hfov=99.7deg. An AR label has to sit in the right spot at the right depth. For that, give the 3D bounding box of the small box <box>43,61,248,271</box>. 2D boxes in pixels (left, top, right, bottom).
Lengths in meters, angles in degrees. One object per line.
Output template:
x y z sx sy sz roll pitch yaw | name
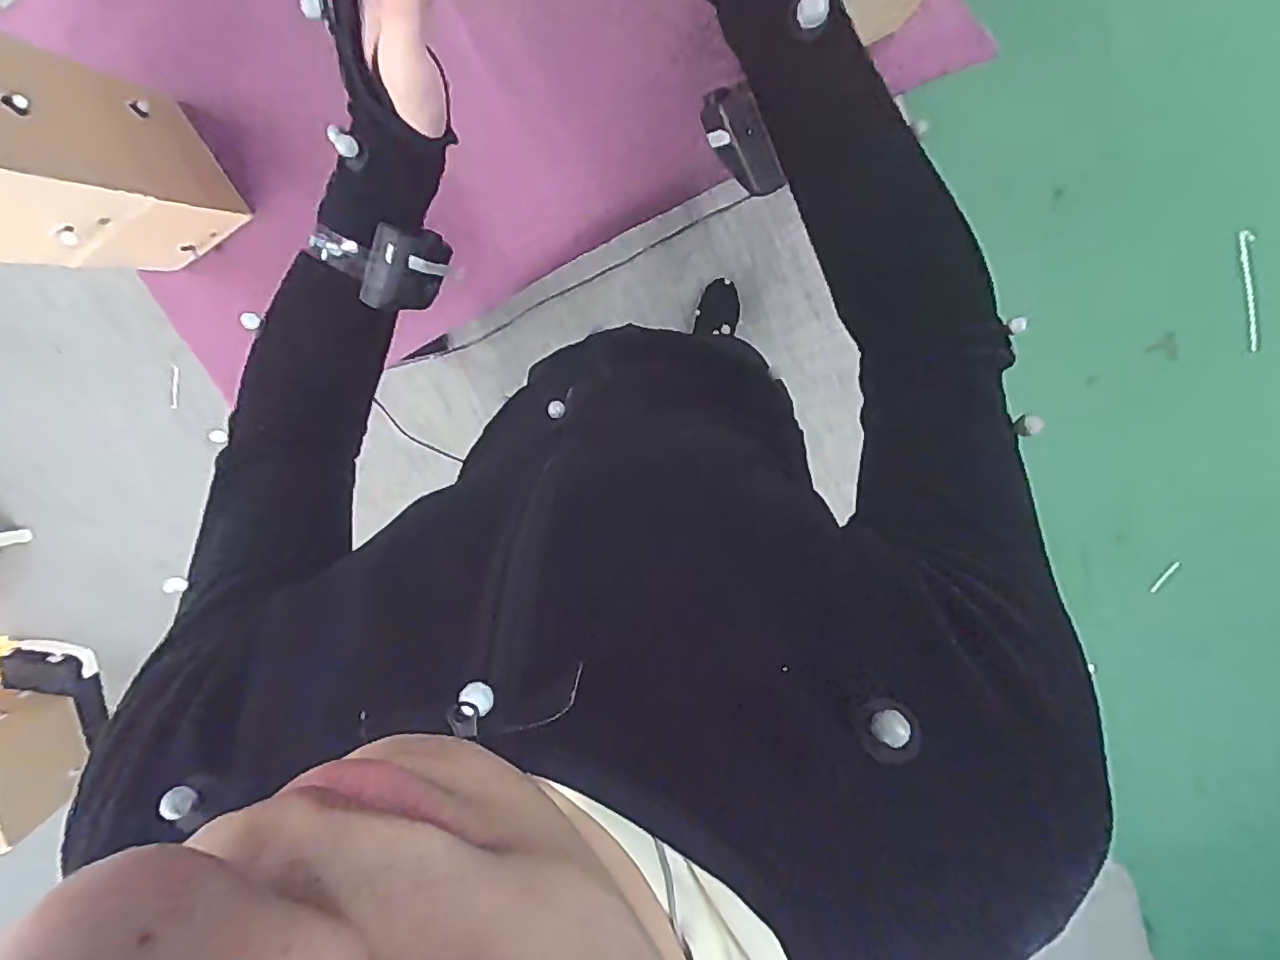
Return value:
-0.701 -0.403 0.735 0.168 0.176 0.179 -26 106 13 | small box

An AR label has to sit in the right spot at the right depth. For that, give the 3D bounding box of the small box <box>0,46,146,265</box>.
-0.713 -0.352 0.581 0.168 0.176 0.179 -26 105 13 | small box

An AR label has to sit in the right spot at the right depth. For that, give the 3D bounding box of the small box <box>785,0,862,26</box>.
0.191 -0.536 0.440 0.168 0.176 0.179 -20 105 12 | small box
